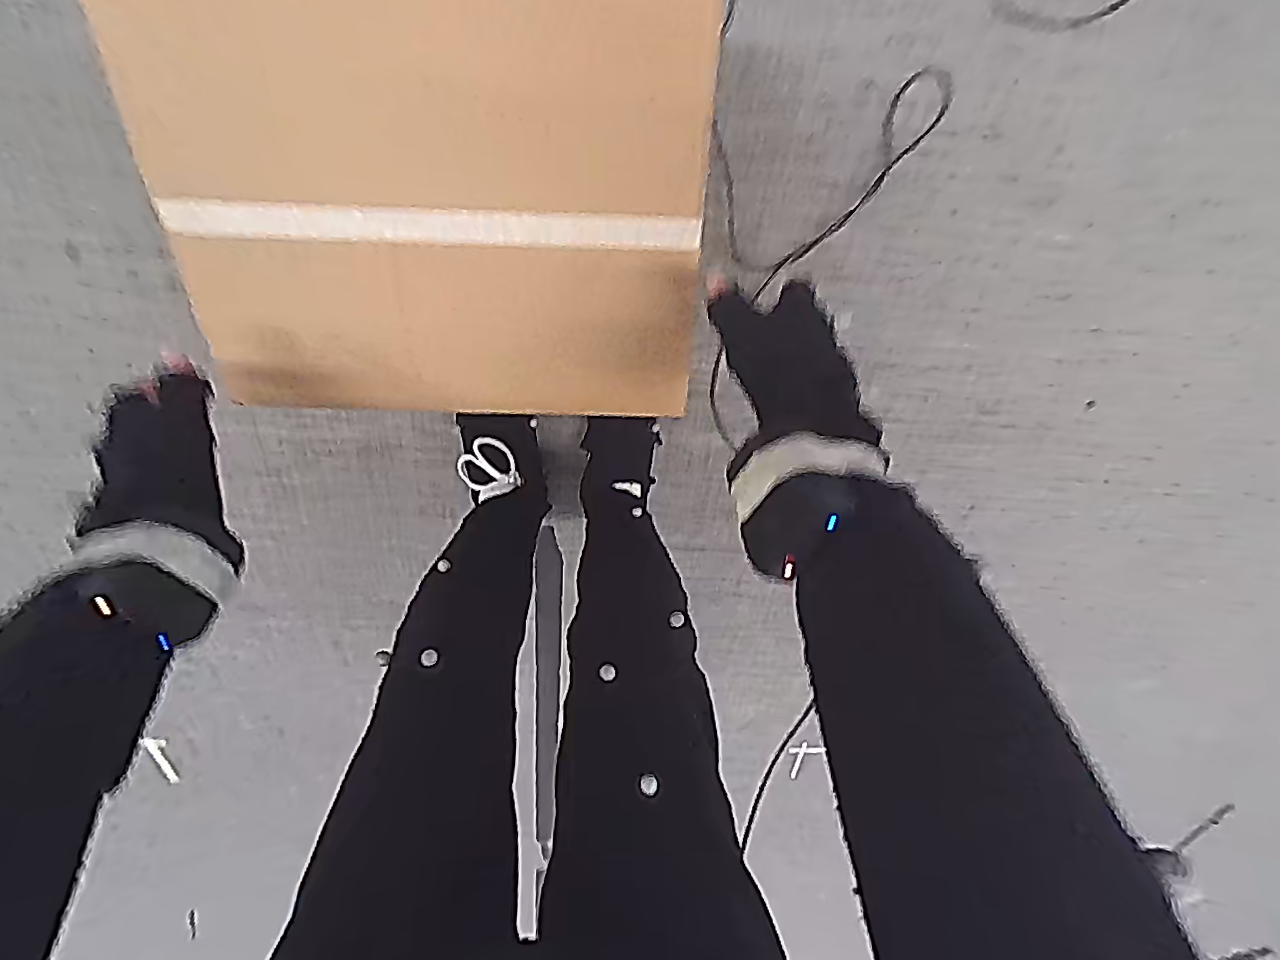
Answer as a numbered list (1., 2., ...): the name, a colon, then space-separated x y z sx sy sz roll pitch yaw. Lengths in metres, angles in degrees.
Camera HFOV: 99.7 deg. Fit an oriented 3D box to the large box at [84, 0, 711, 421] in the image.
1. large box: -0.159 -0.265 0.544 0.408 0.320 0.320 1 121 -3
